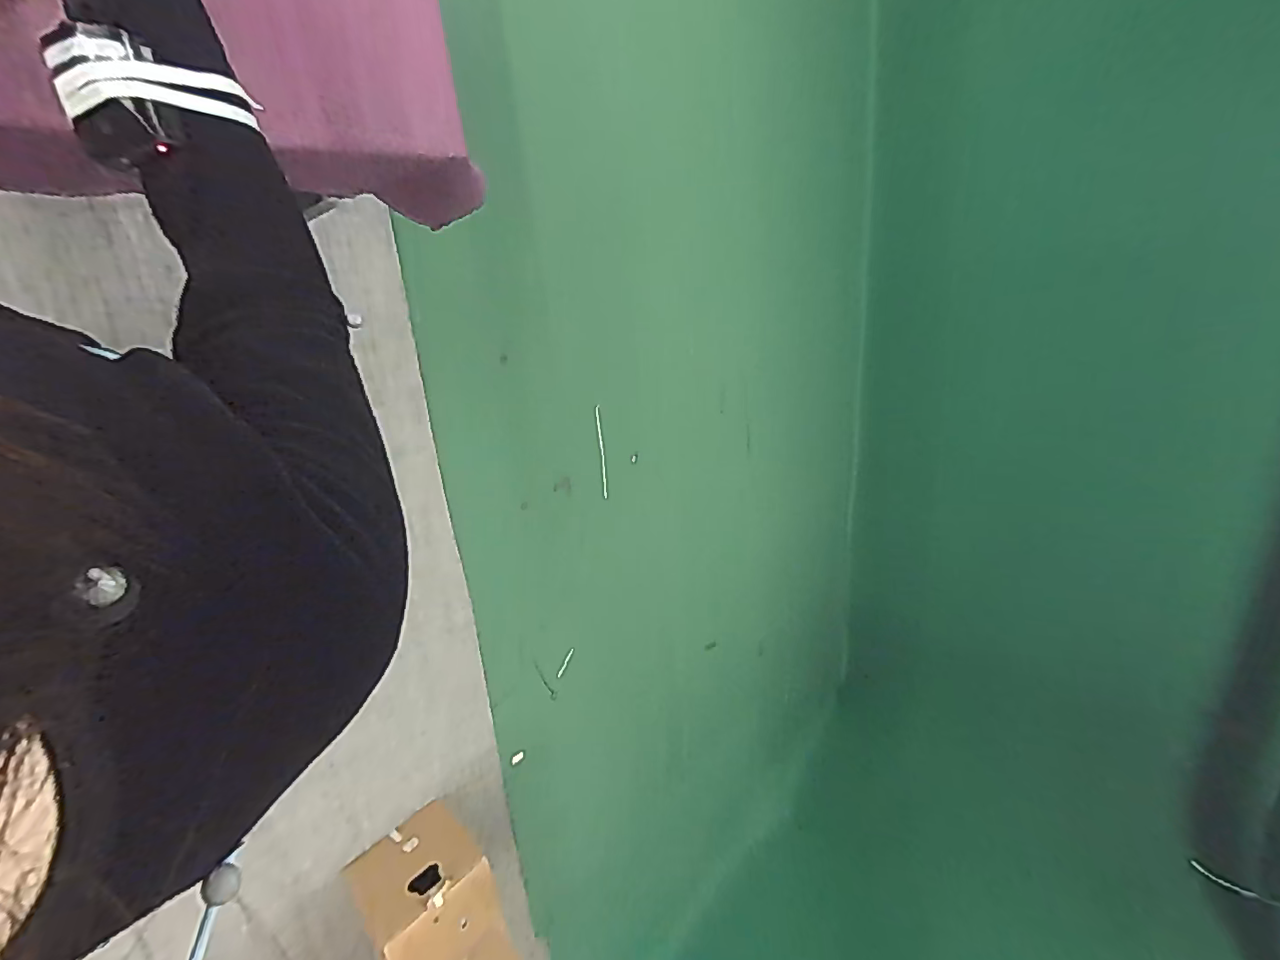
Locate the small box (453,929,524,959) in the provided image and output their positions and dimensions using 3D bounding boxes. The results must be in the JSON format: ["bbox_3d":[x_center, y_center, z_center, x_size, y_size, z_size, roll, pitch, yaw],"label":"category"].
[{"bbox_3d":[-0.385,1.291,1.359,0.168,0.176,0.179,-22,116,-43],"label":"small box"}]

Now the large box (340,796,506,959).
[{"bbox_3d":[-0.663,1.301,1.672,0.320,0.320,0.408,-24,118,-42],"label":"large box"}]

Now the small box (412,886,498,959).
[{"bbox_3d":[-0.500,1.263,1.475,0.168,0.176,0.179,-22,116,-43],"label":"small box"}]
